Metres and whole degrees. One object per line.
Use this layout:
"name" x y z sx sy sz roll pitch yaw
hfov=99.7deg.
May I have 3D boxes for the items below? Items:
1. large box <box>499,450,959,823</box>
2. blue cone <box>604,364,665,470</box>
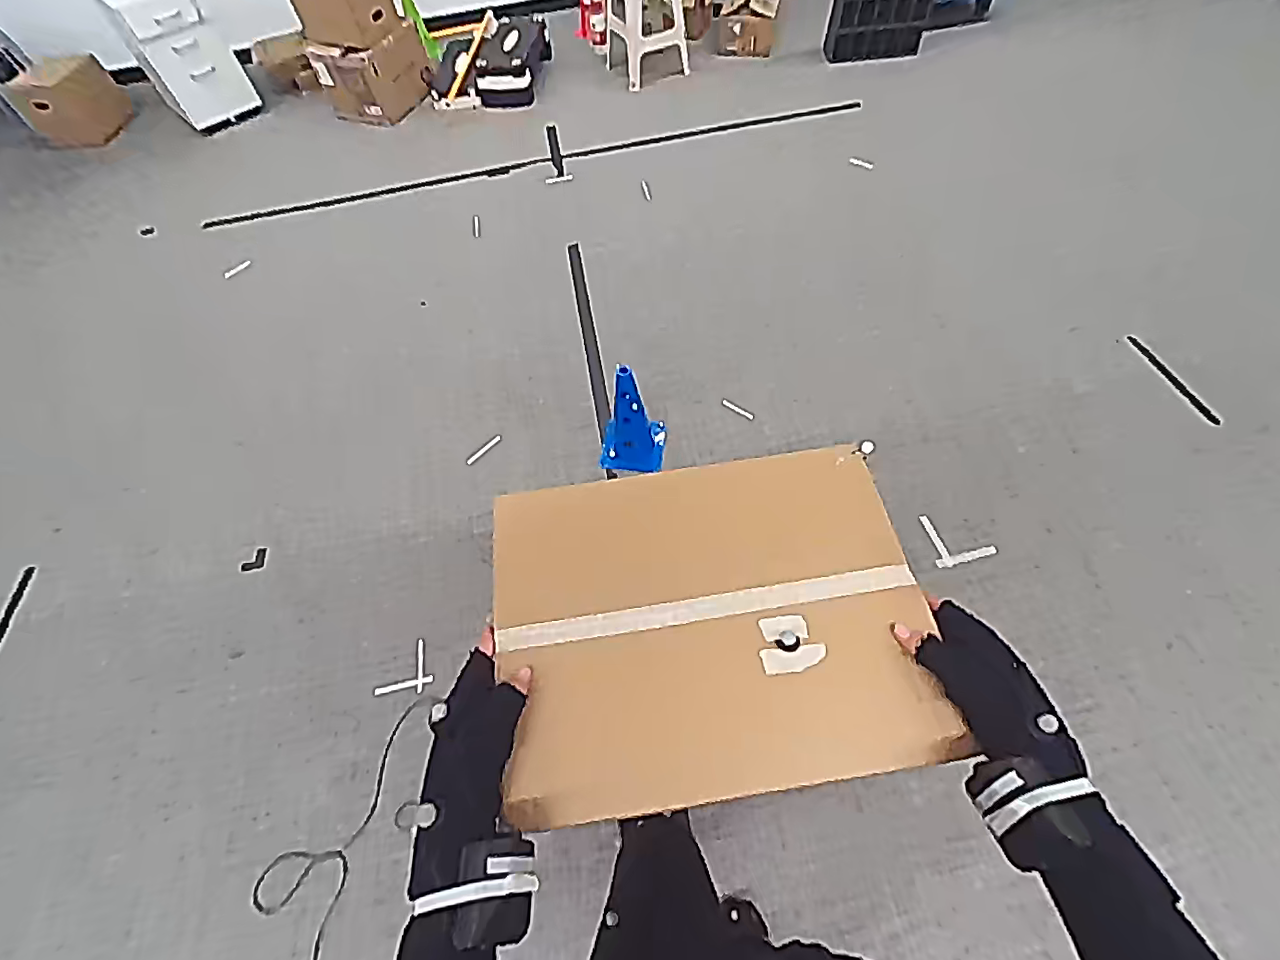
"large box" 0.067 0.201 0.662 0.408 0.320 0.320 -9 60 -2
"blue cone" -0.029 -0.201 1.650 0.193 0.380 0.192 6 59 9
